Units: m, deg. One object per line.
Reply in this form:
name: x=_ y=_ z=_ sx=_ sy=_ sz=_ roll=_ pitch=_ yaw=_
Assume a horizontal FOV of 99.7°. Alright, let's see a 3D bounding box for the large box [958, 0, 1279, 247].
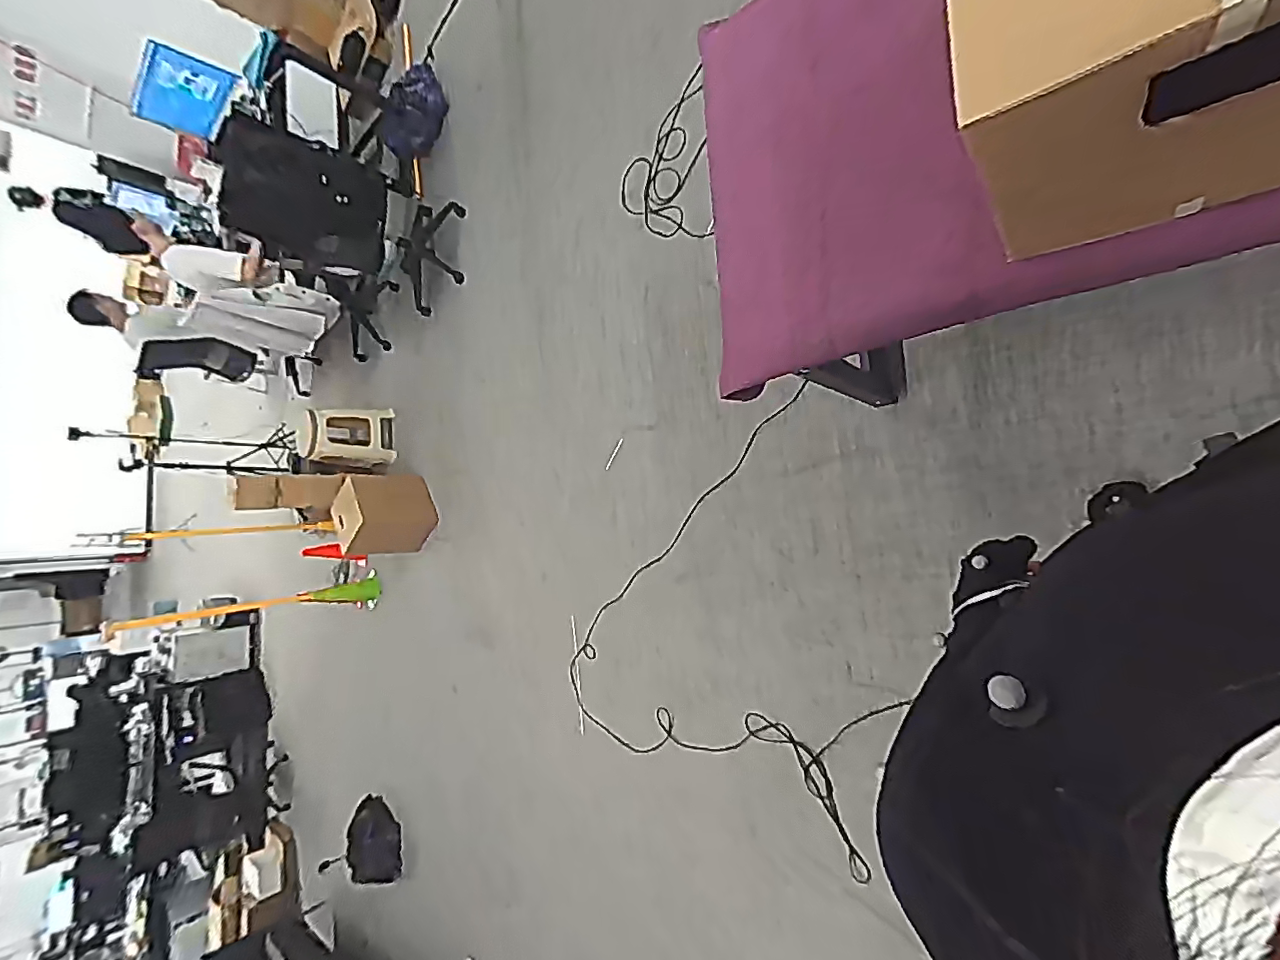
large box: x=0.475 y=-0.497 z=0.475 sx=0.320 sy=0.320 sz=0.408 roll=-6 pitch=85 yaw=40
